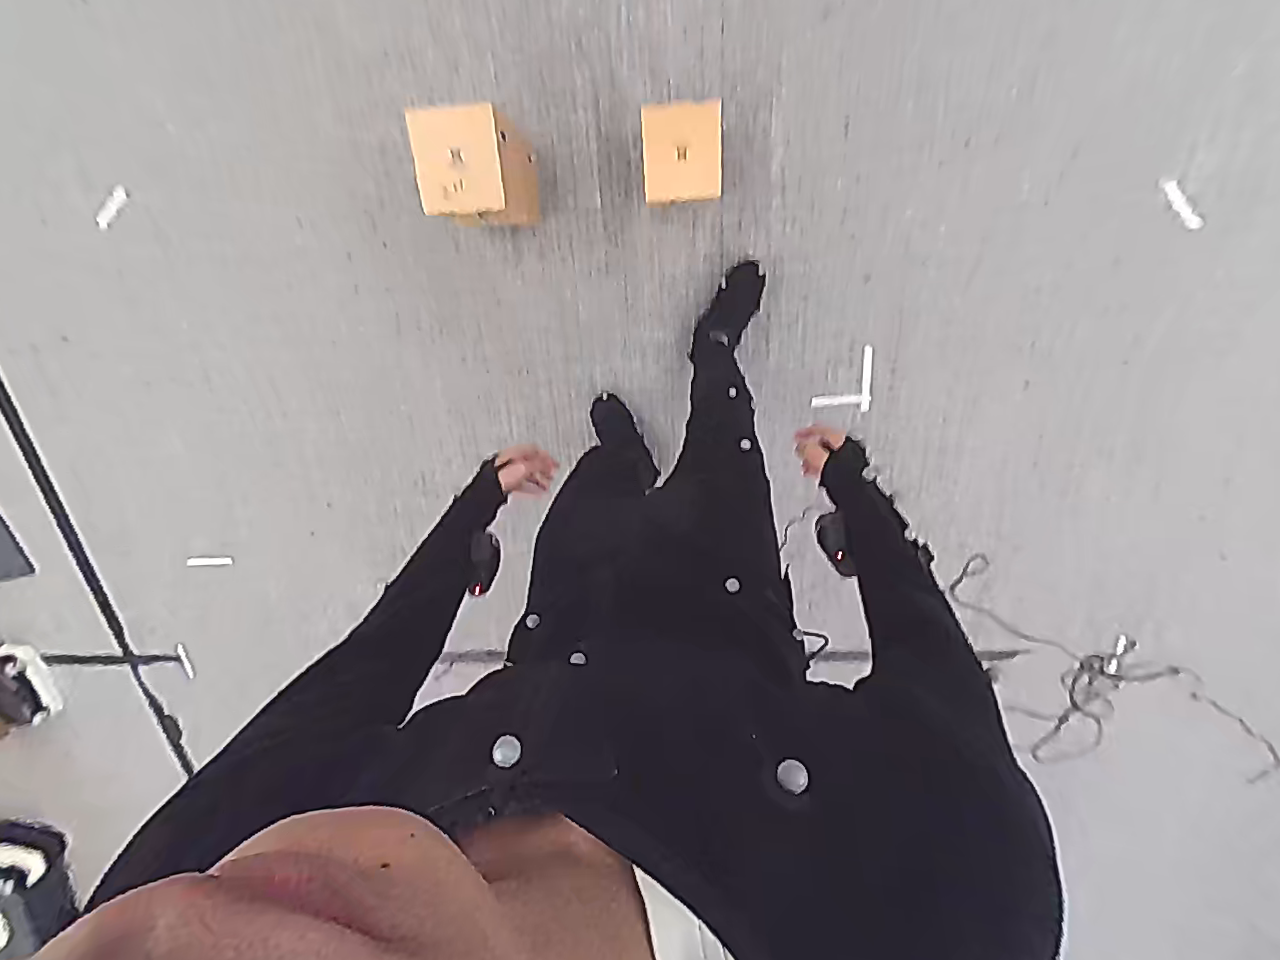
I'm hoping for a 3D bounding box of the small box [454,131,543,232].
[{"bbox_3d":[-0.325,-0.670,1.229,0.168,0.176,0.179,-1,111,4],"label":"small box"}]

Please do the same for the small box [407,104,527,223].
[{"bbox_3d":[-0.333,-0.618,1.074,0.168,0.176,0.179,-1,112,5],"label":"small box"}]

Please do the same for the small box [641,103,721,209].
[{"bbox_3d":[0.091,-0.708,1.200,0.168,0.176,0.179,-3,111,3],"label":"small box"}]
